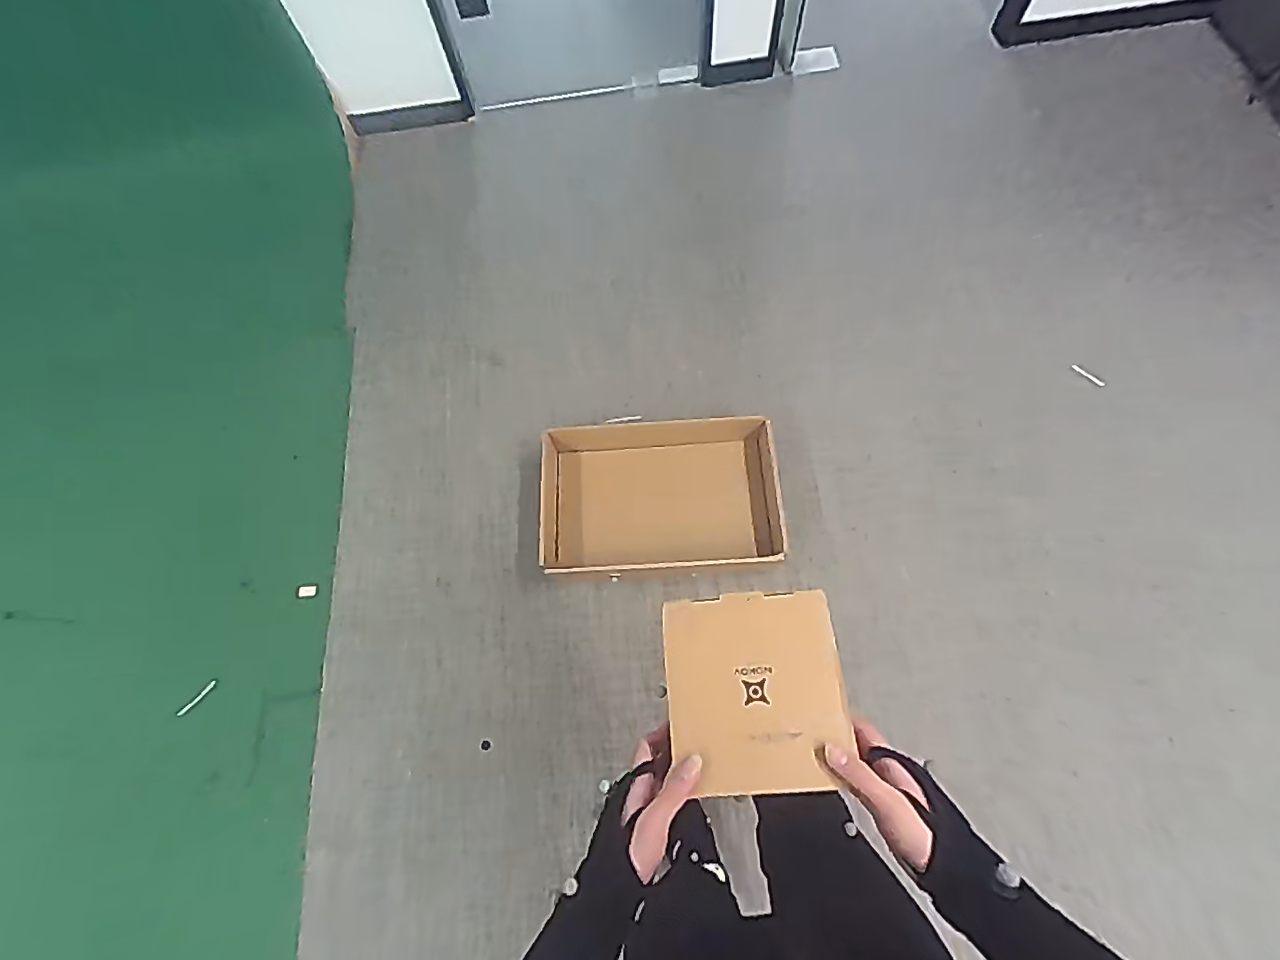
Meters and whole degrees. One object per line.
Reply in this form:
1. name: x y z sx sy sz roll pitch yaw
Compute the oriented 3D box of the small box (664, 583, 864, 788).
1. small box: 0.114 0.220 0.573 0.168 0.176 0.179 -5 64 4
